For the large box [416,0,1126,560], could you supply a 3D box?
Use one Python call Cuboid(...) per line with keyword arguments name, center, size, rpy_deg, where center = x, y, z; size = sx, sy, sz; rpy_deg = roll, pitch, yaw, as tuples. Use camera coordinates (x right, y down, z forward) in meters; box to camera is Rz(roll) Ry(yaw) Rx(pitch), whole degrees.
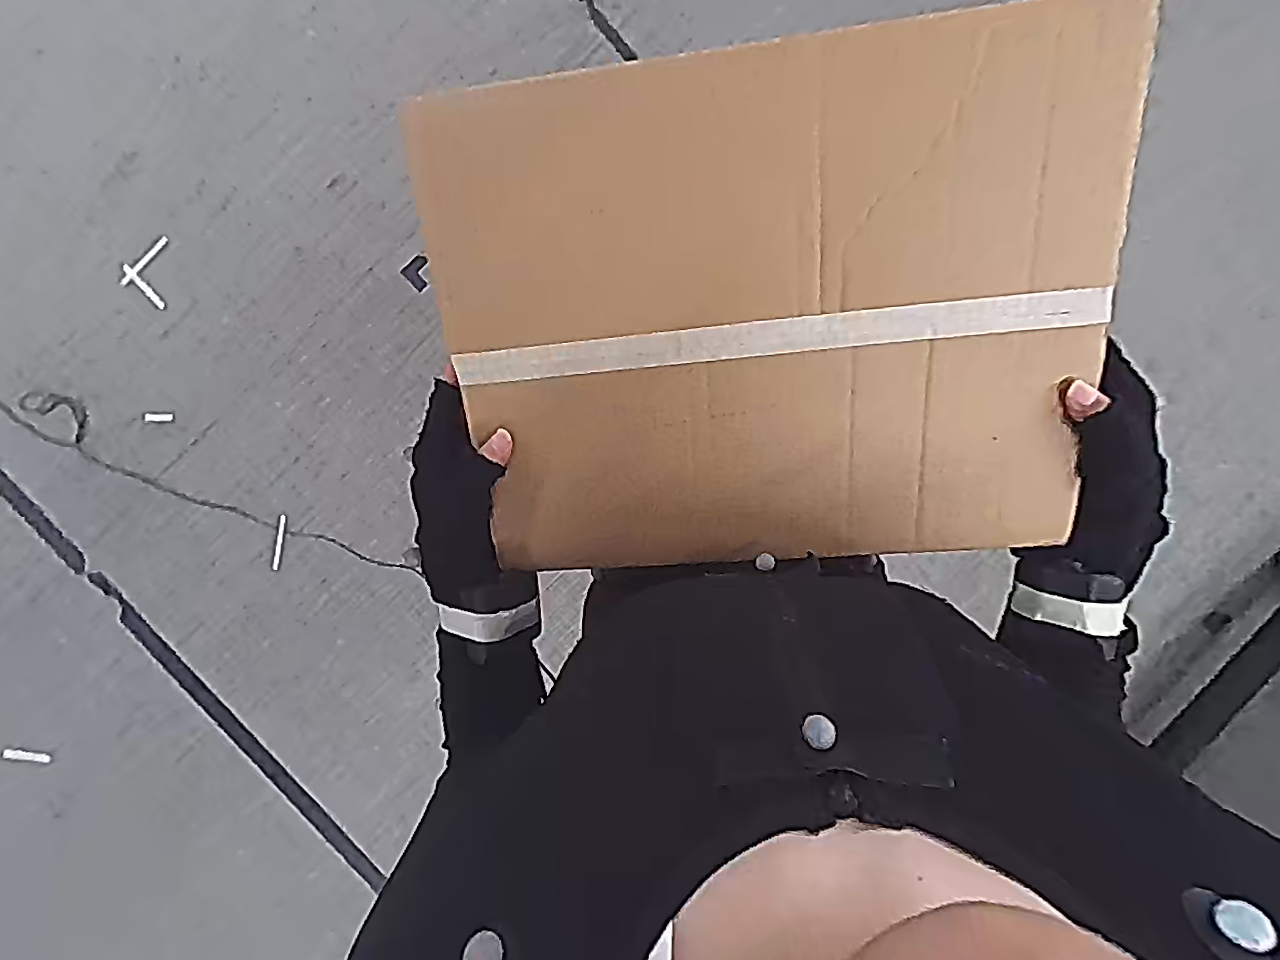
Cuboid(name="large box", center=(0.085, -0.146, 0.492), size=(0.408, 0.320, 0.320), rpy_deg=(-4, 110, 6))
